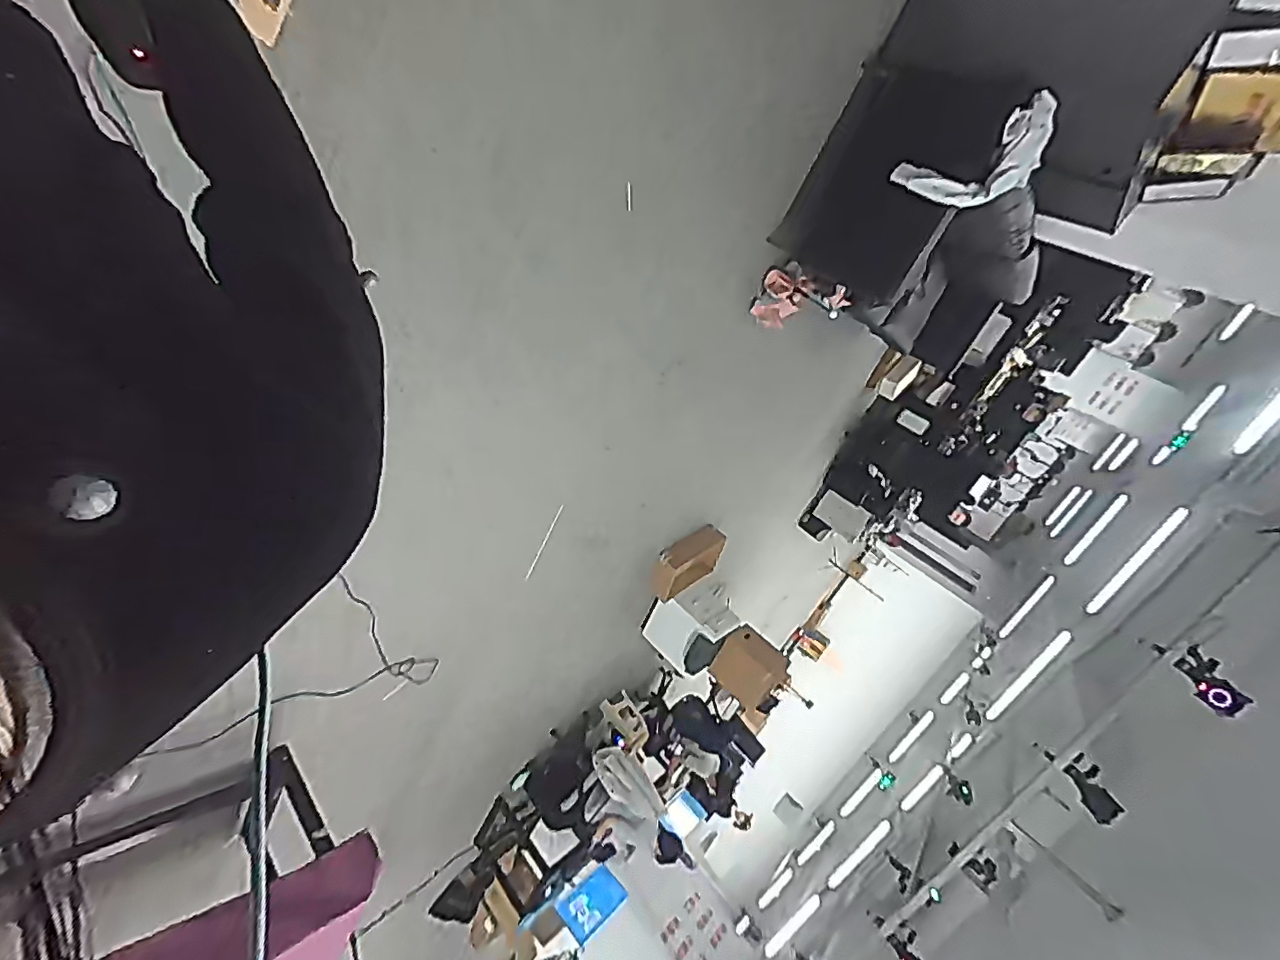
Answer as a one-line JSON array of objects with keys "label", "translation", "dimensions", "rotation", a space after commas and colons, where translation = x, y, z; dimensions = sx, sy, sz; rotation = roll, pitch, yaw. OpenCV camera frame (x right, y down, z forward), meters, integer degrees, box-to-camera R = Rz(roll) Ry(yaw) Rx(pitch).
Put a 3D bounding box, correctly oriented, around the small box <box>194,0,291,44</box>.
[{"label": "small box", "translation": [-0.629, -0.794, 0.792], "dimensions": [0.168, 0.176, 0.179], "rotation": [-57, 150, 11]}]
